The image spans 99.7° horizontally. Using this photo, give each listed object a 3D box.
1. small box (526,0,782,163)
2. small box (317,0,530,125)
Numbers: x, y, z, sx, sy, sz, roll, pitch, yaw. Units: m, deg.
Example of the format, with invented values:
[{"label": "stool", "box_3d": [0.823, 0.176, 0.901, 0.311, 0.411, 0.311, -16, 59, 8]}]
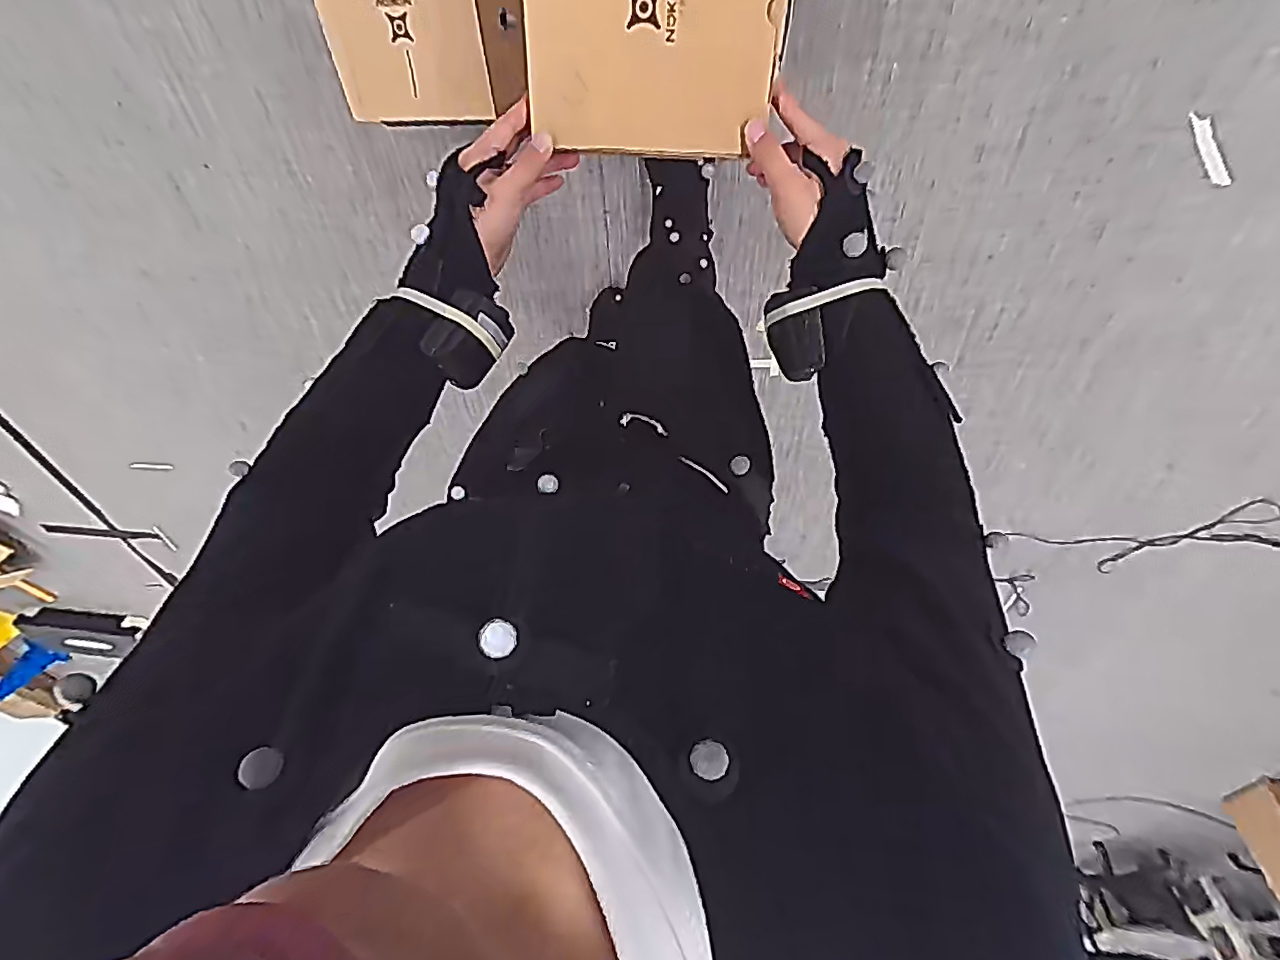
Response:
[{"label": "small box", "box_3d": [0.015, -0.356, 0.436, 0.179, 0.176, 0.168, 4, 120, 3]}, {"label": "small box", "box_3d": [-0.225, -0.506, 0.589, 0.168, 0.176, 0.179, 4, 133, 5]}]
